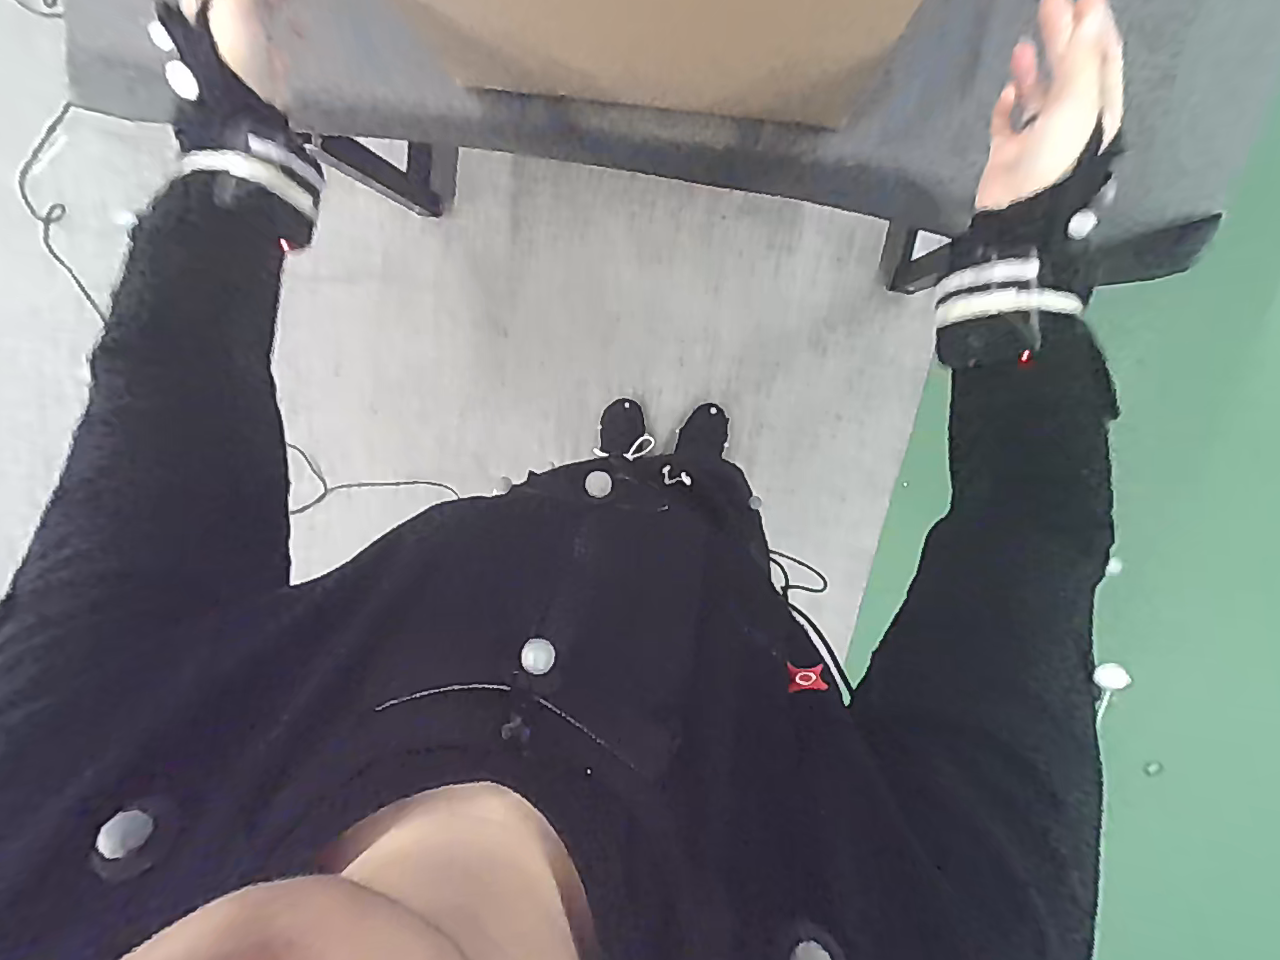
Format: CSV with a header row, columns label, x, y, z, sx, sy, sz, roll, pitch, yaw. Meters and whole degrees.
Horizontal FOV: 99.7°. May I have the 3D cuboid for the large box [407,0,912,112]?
label,x,y,z,sx,sy,sz,roll,pitch,yaw
large box,0.015,-0.510,0.377,0.408,0.320,0.320,8,101,3
